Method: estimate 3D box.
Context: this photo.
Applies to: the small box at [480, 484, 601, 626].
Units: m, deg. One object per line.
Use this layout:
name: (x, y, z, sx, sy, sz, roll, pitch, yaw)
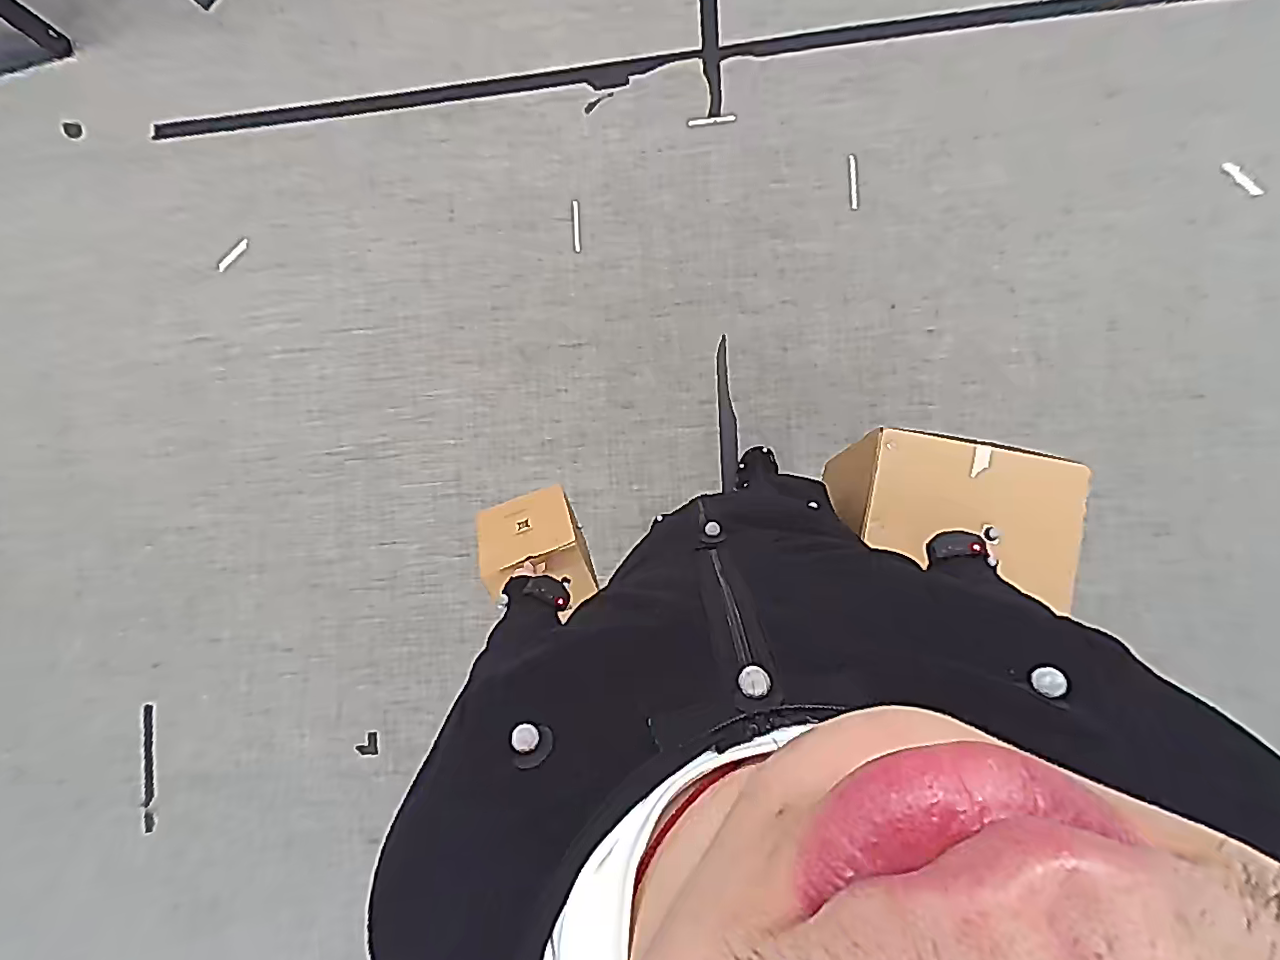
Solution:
small box: (-0.181, 0.143, 0.996, 0.168, 0.179, 0.176, -20, 127, -5)
